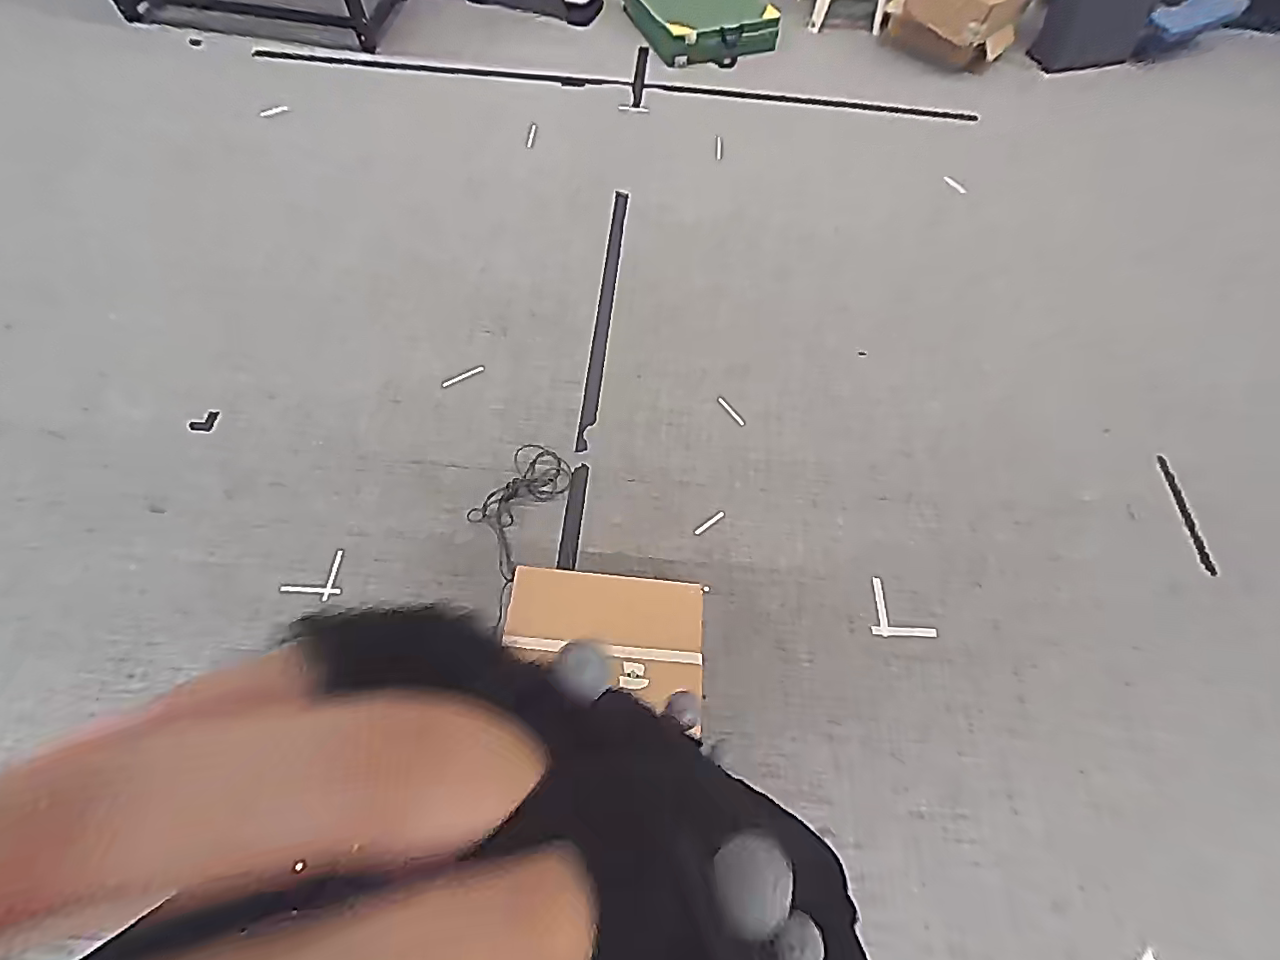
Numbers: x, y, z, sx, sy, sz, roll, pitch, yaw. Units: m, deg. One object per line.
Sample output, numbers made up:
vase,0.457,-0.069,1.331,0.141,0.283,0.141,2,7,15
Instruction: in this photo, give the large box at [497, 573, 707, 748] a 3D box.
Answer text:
large box,-0.078,0.421,1.226,0.408,0.320,0.320,7,64,-2
